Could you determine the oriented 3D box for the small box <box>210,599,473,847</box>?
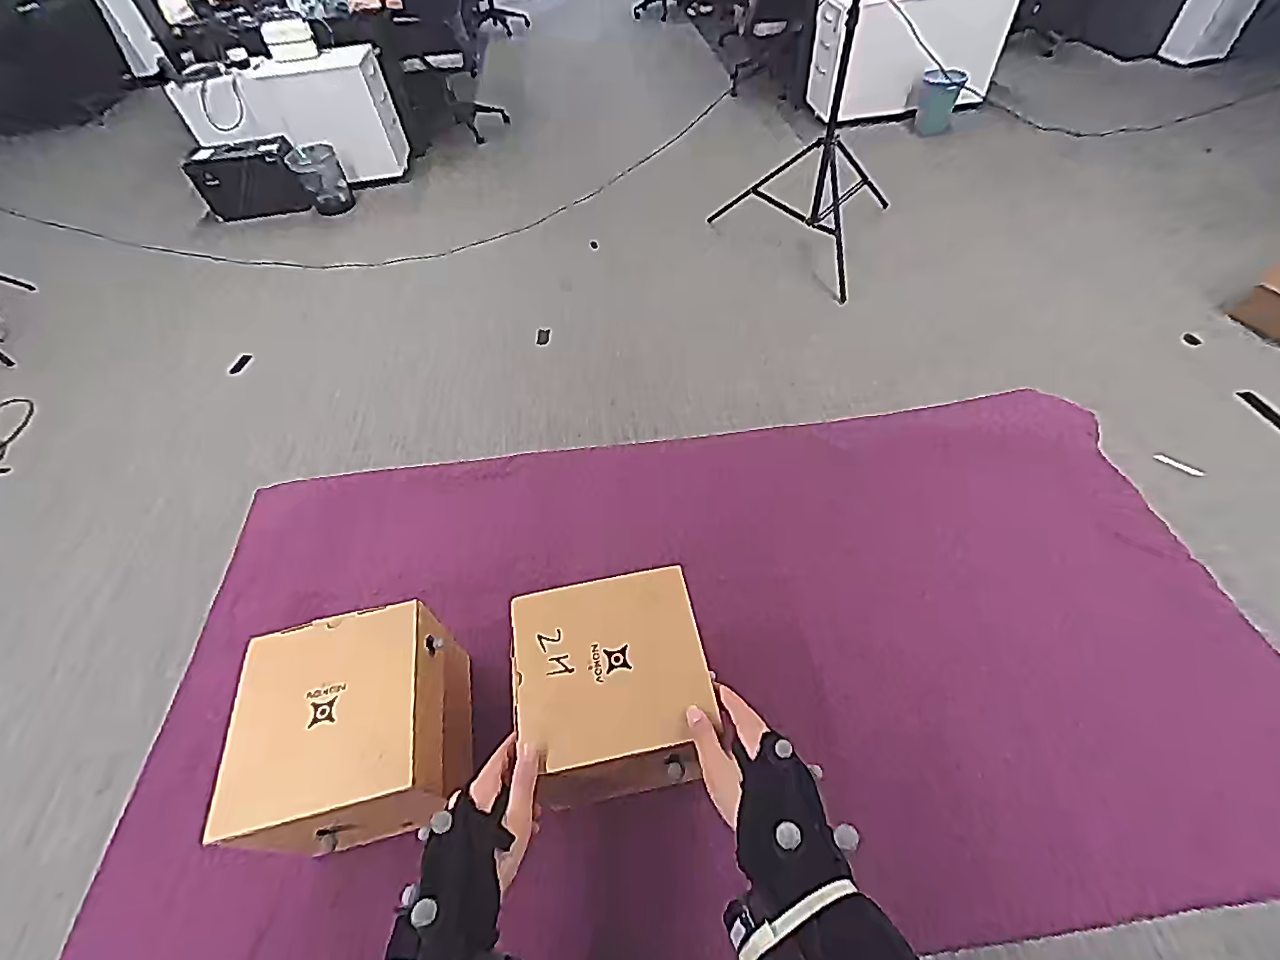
[{"bbox_3d":[-0.276,0.251,0.548,0.168,0.176,0.179,-13,51,-6],"label":"small box"}]

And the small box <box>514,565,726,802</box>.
[{"bbox_3d":[-0.022,0.212,0.555,0.179,0.176,0.168,-11,51,-3],"label":"small box"}]
